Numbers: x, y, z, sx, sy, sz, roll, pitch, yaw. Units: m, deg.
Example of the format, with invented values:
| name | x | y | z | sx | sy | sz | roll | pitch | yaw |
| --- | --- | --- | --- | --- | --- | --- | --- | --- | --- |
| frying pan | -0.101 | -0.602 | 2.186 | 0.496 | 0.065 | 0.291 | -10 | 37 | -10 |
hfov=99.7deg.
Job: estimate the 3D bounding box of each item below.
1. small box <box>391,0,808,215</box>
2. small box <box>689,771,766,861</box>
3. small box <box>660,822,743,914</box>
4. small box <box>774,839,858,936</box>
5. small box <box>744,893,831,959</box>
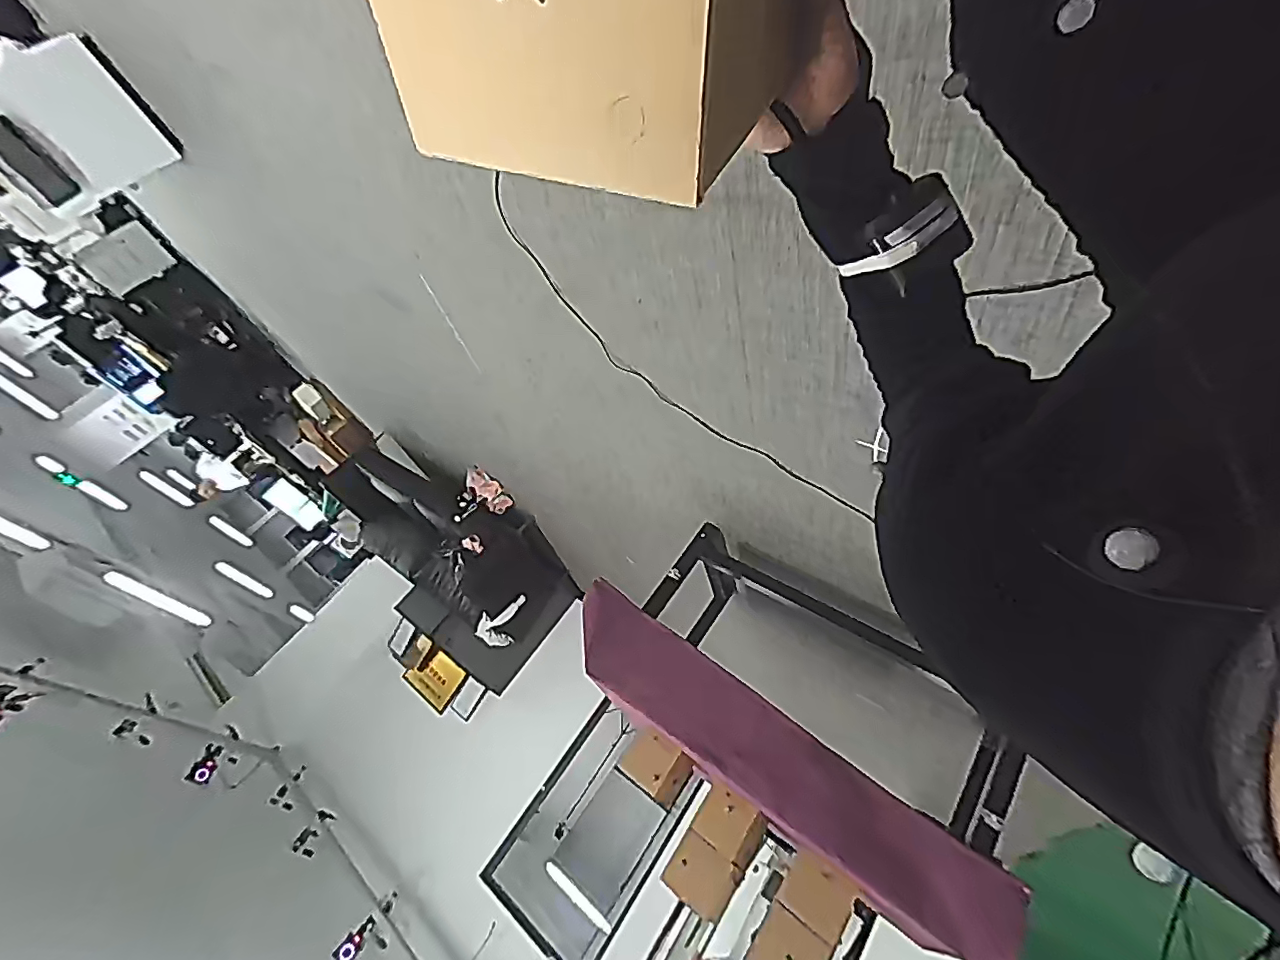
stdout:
| name | x | y | z | sx | sy | sz | roll | pitch | yaw |
| --- | --- | --- | --- | --- | --- | --- | --- | --- | --- |
| small box | -0.009 | -0.268 | 0.264 | 0.168 | 0.176 | 0.179 | 19 | 146 | 15 |
| small box | 0.292 | 1.090 | 1.759 | 0.168 | 0.176 | 0.179 | 20 | 150 | 38 |
| small box | 0.196 | 1.205 | 1.694 | 0.179 | 0.176 | 0.168 | 21 | 152 | 37 |
| small box | 0.518 | 1.192 | 1.592 | 0.179 | 0.176 | 0.168 | 24 | 153 | 34 |
| small box | 0.420 | 1.308 | 1.531 | 0.179 | 0.176 | 0.168 | 23 | 152 | 34 |
